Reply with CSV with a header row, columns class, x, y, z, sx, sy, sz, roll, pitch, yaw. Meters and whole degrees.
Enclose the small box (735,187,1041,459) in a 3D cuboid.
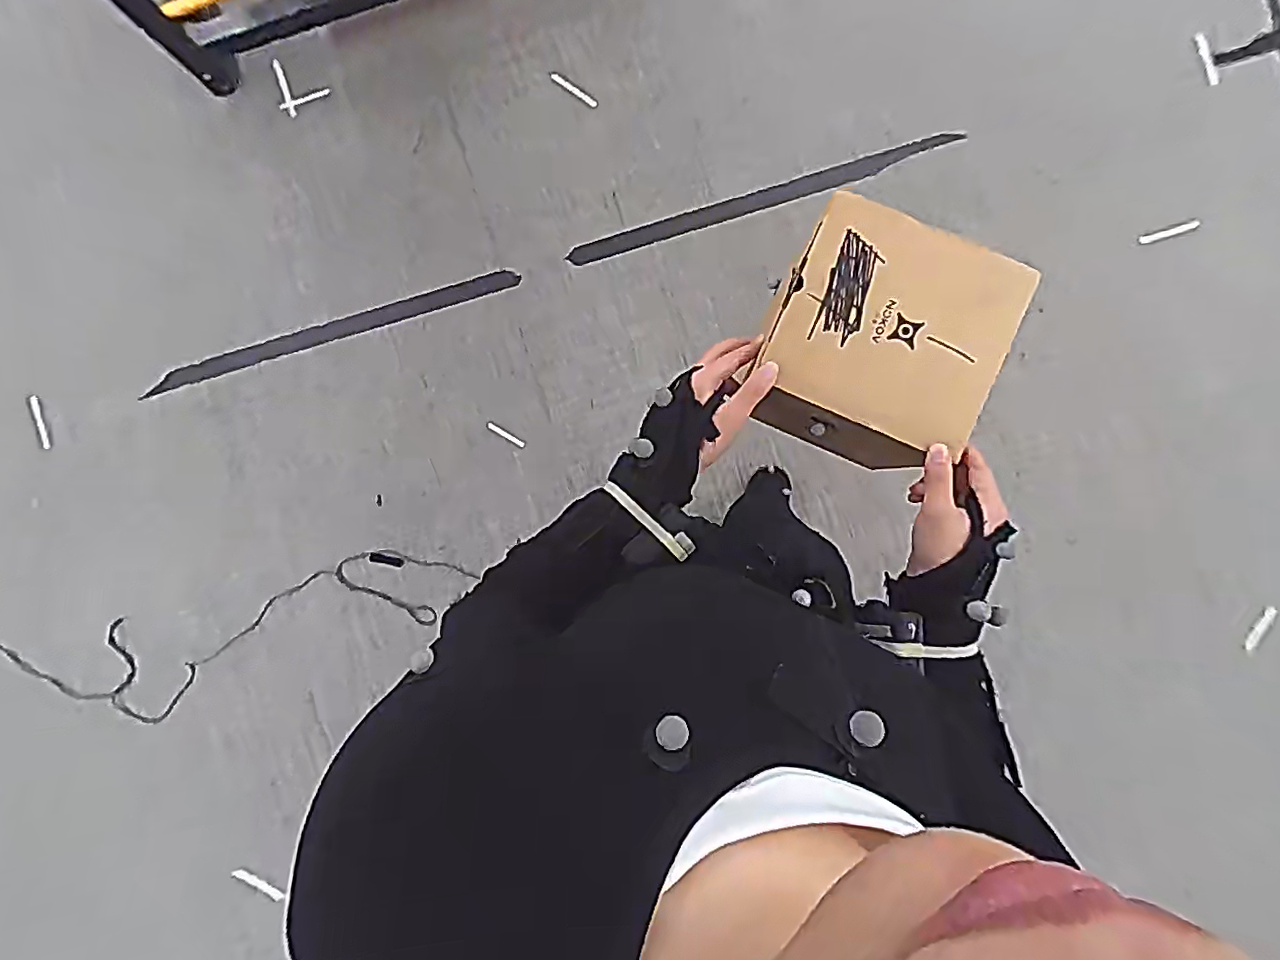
class,x,y,z,sx,sy,sz,roll,pitch,yaw
small box,0.204,-0.124,0.502,0.179,0.176,0.168,23,91,1
